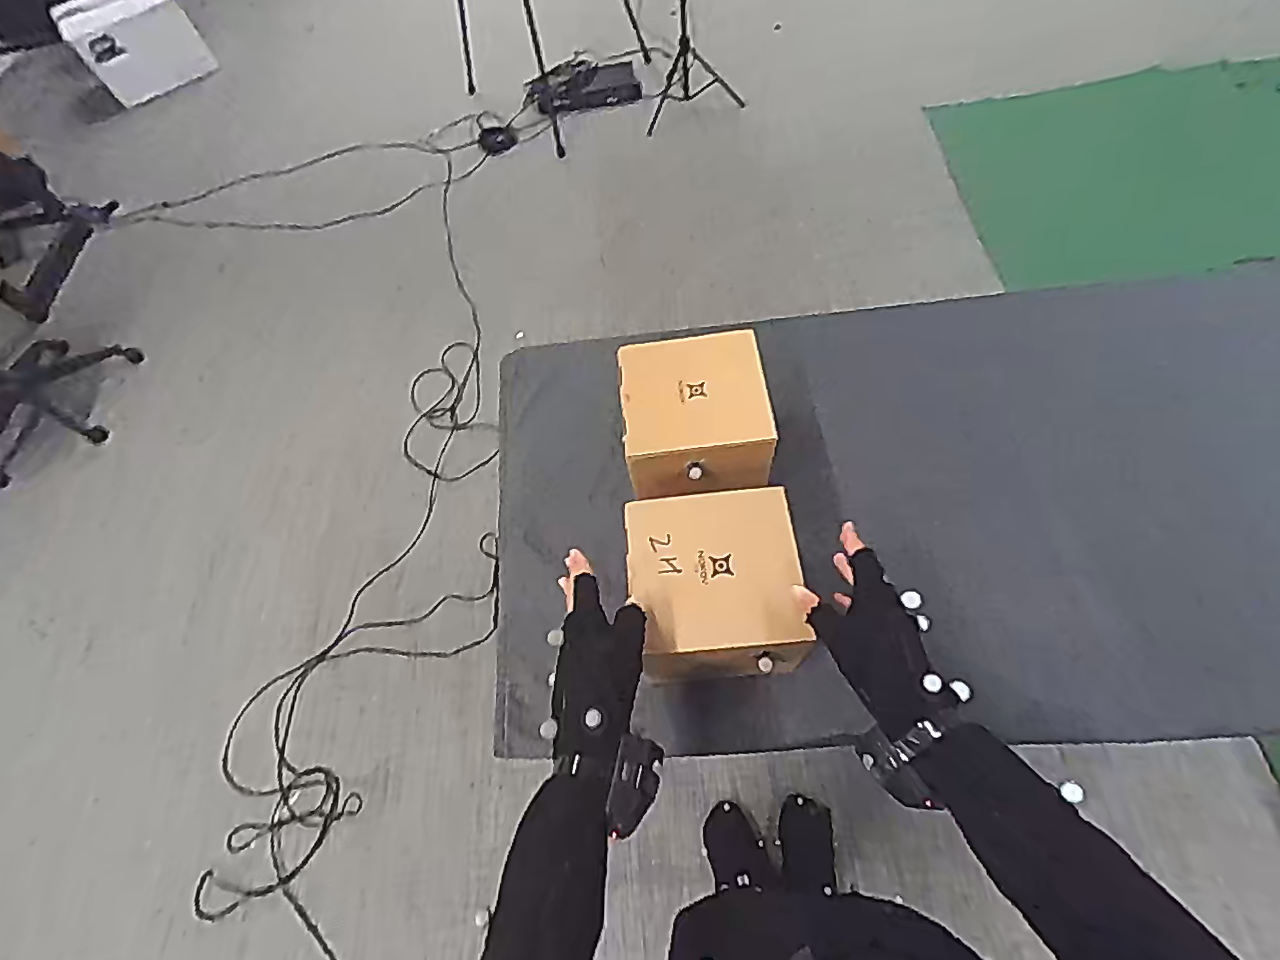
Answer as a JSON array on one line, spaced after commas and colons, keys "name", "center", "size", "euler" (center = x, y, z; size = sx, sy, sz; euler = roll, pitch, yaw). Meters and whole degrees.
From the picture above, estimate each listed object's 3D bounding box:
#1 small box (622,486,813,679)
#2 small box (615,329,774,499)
[{"name": "small box", "center": [0.079, 0.123, 0.612], "size": [0.179, 0.176, 0.168], "euler": [-7, 61, 4]}, {"name": "small box", "center": [0.069, -0.072, 0.720], "size": [0.179, 0.176, 0.168], "euler": [-8, 62, 4]}]
